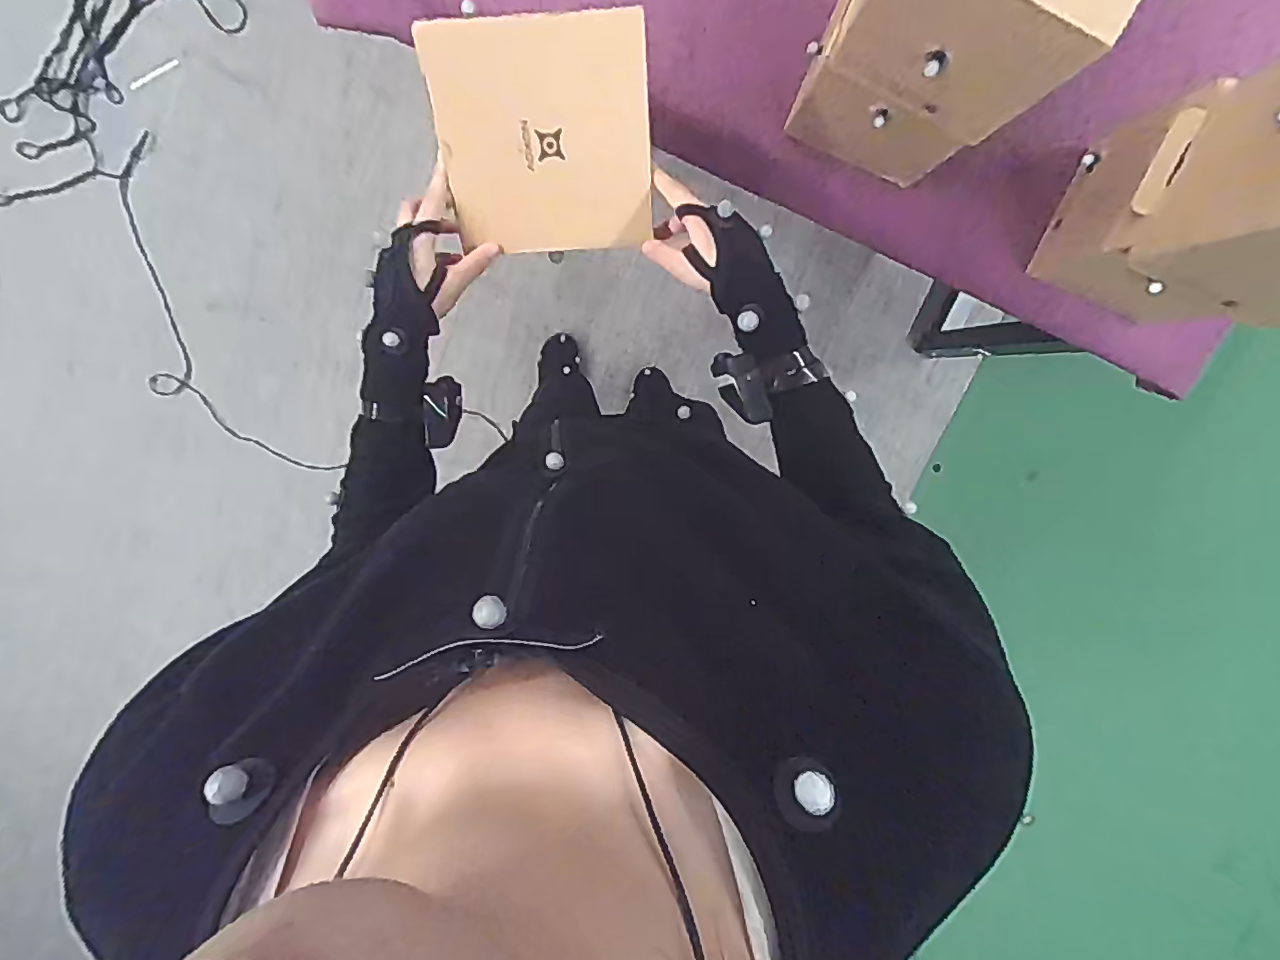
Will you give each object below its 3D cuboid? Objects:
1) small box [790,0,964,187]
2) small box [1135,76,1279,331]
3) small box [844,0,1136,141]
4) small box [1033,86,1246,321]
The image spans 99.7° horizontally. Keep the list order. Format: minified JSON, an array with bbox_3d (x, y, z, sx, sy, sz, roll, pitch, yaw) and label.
[{"bbox_3d":[0.290,-0.457,0.594,0.179,0.176,0.168,24,100,-4],"label":"small box"},{"bbox_3d":[0.595,-0.244,0.459,0.168,0.176,0.179,24,100,-2],"label":"small box"},{"bbox_3d":[0.290,-0.419,0.435,0.168,0.176,0.179,26,100,-4],"label":"small box"},{"bbox_3d":[0.608,-0.291,0.617,0.179,0.176,0.168,21,101,-3],"label":"small box"}]
